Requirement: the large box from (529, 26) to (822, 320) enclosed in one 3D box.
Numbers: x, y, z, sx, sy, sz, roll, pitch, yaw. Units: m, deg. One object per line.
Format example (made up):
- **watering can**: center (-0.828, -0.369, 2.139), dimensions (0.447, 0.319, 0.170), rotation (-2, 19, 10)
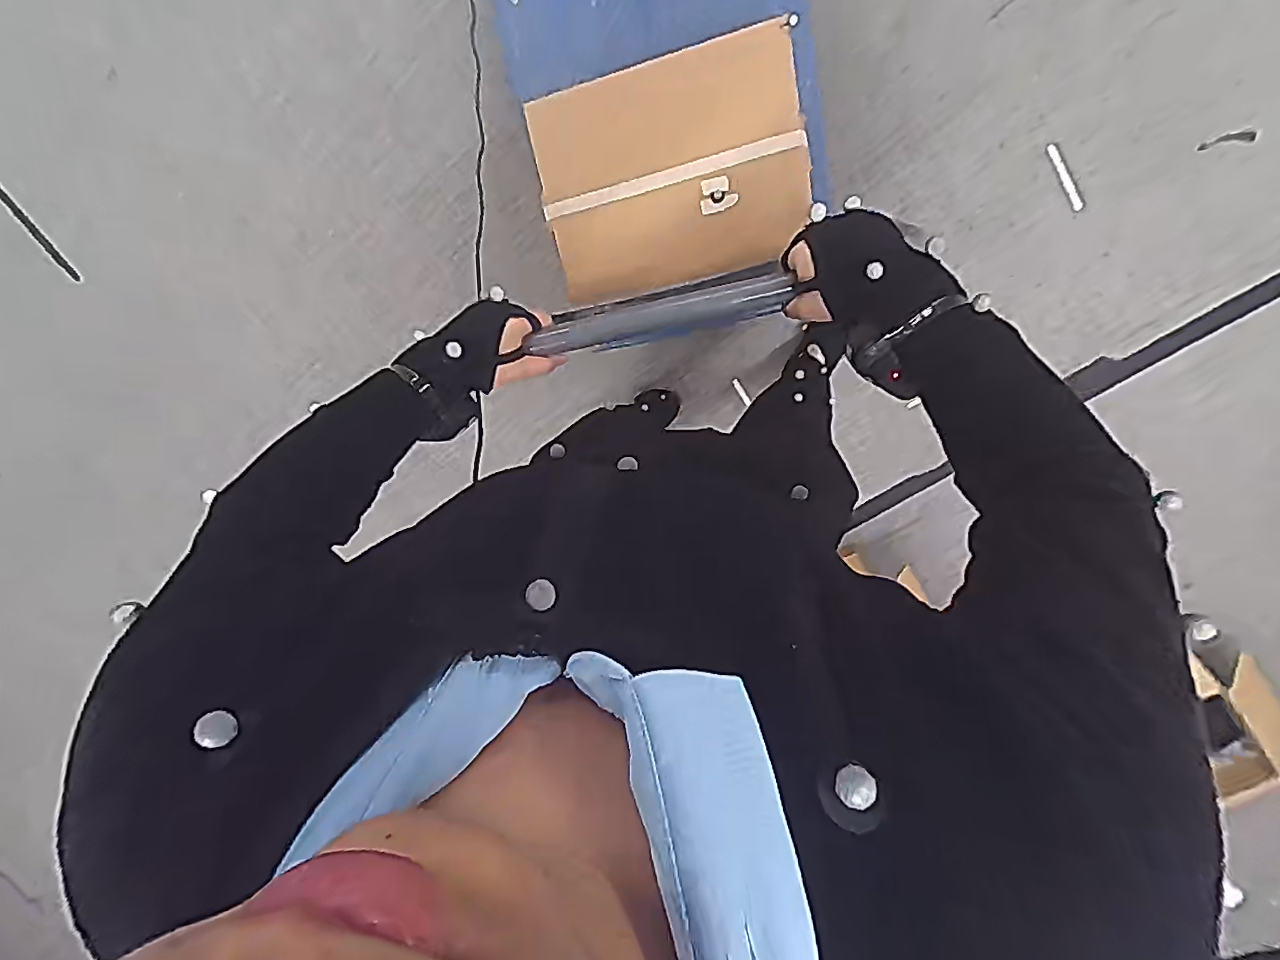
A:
- **large box**: center (0.073, -0.492, 0.967), dimensions (0.408, 0.320, 0.320), rotation (-11, 106, 12)
